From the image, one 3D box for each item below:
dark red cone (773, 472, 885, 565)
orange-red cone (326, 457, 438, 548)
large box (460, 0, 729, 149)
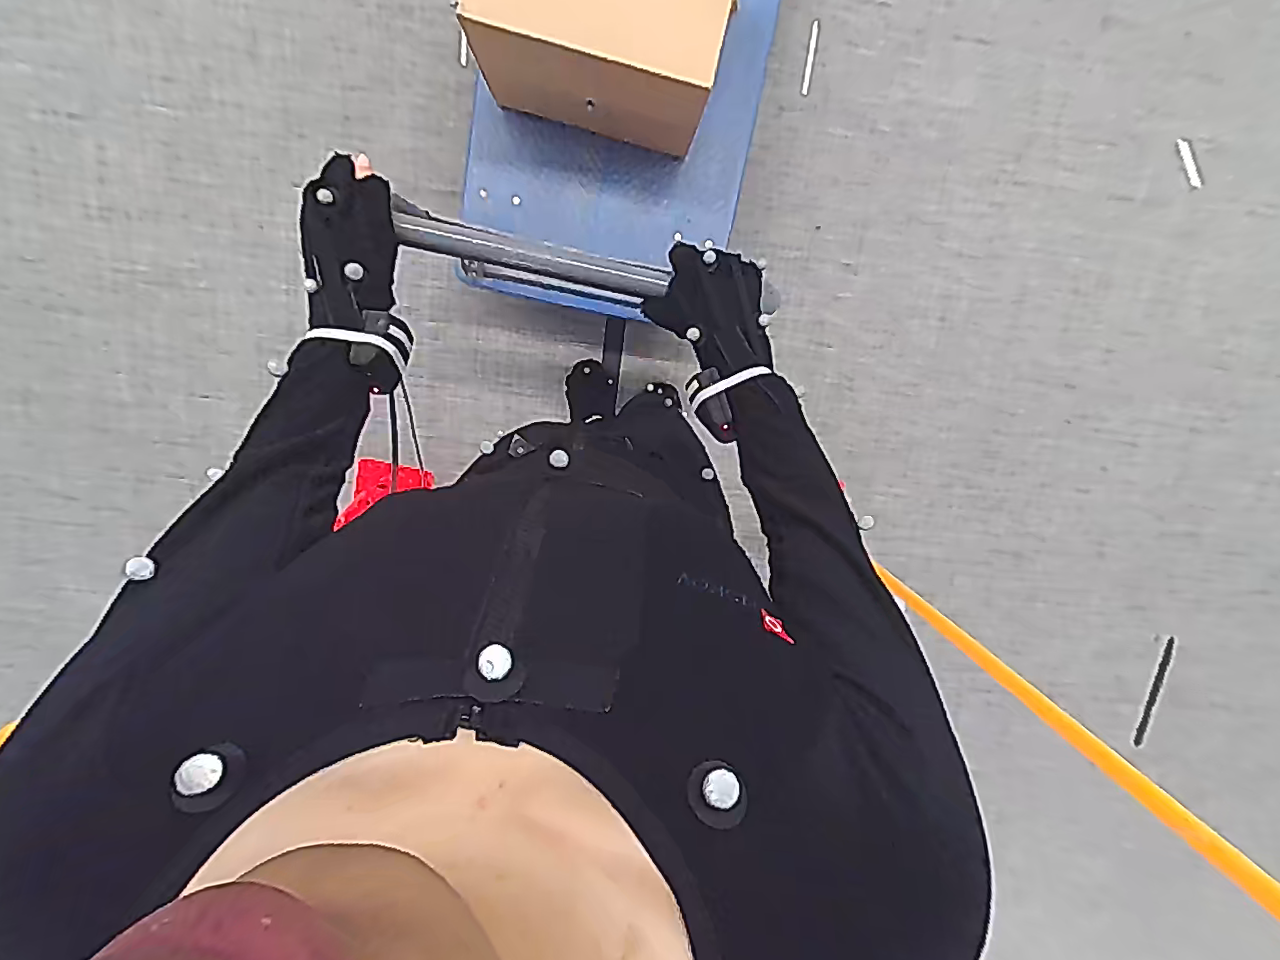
[{"bbox_3d":[0.485,0.119,1.332,0.201,0.394,0.202,5,103,-6],"label":"dark red cone"},{"bbox_3d":[-0.648,0.085,1.295,0.198,0.360,0.199,13,101,-6],"label":"orange-red cone"},{"bbox_3d":[-0.054,-0.842,0.953,0.408,0.320,0.320,12,102,-5],"label":"large box"}]
